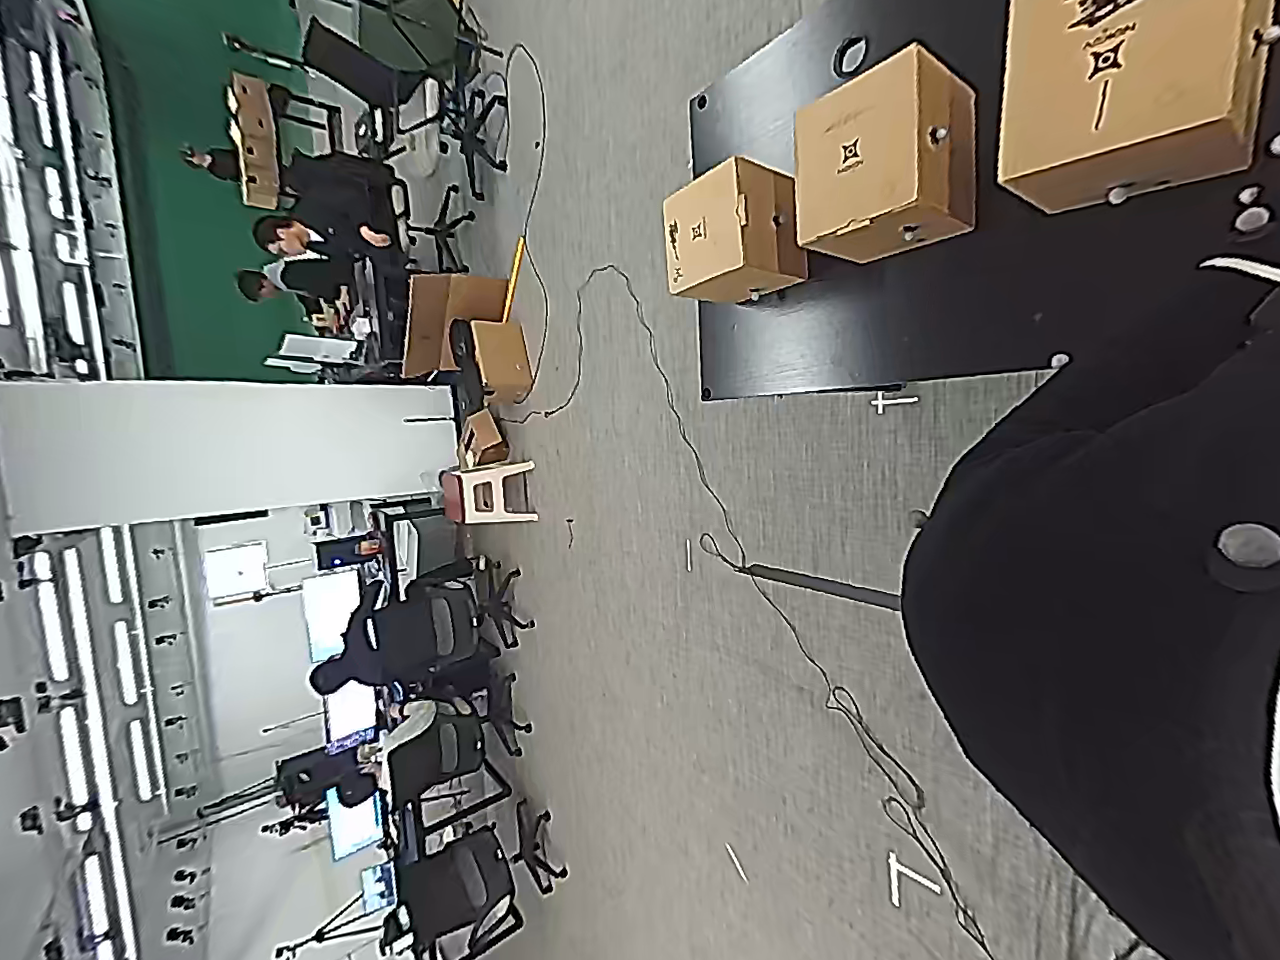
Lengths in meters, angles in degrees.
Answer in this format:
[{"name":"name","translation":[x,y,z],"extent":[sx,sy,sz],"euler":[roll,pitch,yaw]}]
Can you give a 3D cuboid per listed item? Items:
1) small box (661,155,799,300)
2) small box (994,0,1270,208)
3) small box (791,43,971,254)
[{"name":"small box","translation":[0.159,-0.418,0.927],"extent":[0.179,0.176,0.168],"euler":[0,96,51]},{"name":"small box","translation":[0.474,-0.392,0.526],"extent":[0.168,0.176,0.179],"euler":[10,105,51]},{"name":"small box","translation":[0.321,-0.416,0.722],"extent":[0.168,0.176,0.179],"euler":[3,97,51]}]
